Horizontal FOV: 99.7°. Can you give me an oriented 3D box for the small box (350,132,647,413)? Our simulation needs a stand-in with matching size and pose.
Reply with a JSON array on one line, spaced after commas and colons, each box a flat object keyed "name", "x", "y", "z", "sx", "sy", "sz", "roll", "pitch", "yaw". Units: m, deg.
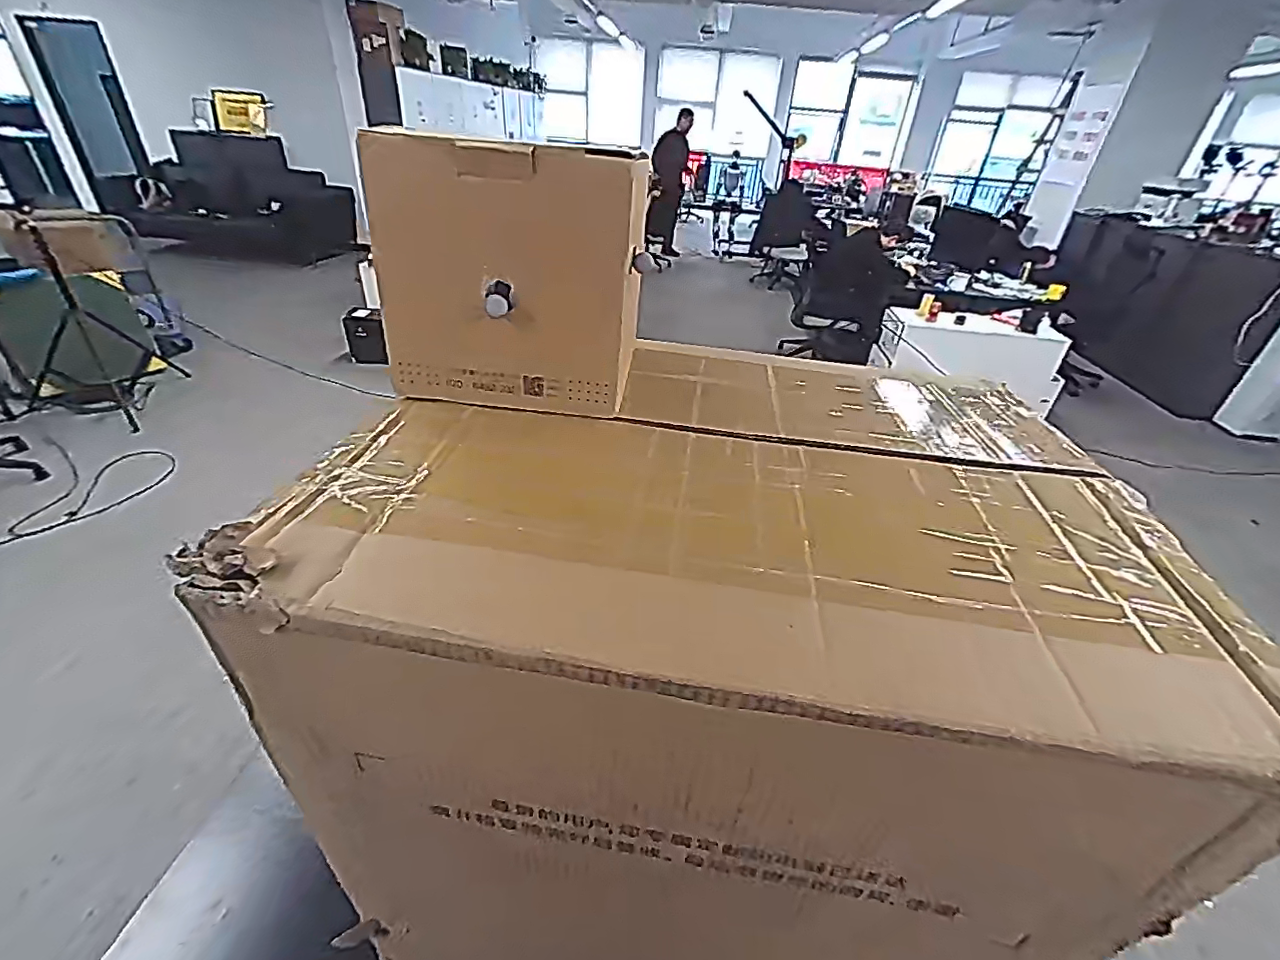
[{"name": "small box", "x": -0.086, "y": -0.163, "z": 0.419, "sx": 0.168, "sy": 0.176, "sz": 0.179, "roll": 6, "pitch": 32, "yaw": 0}]
